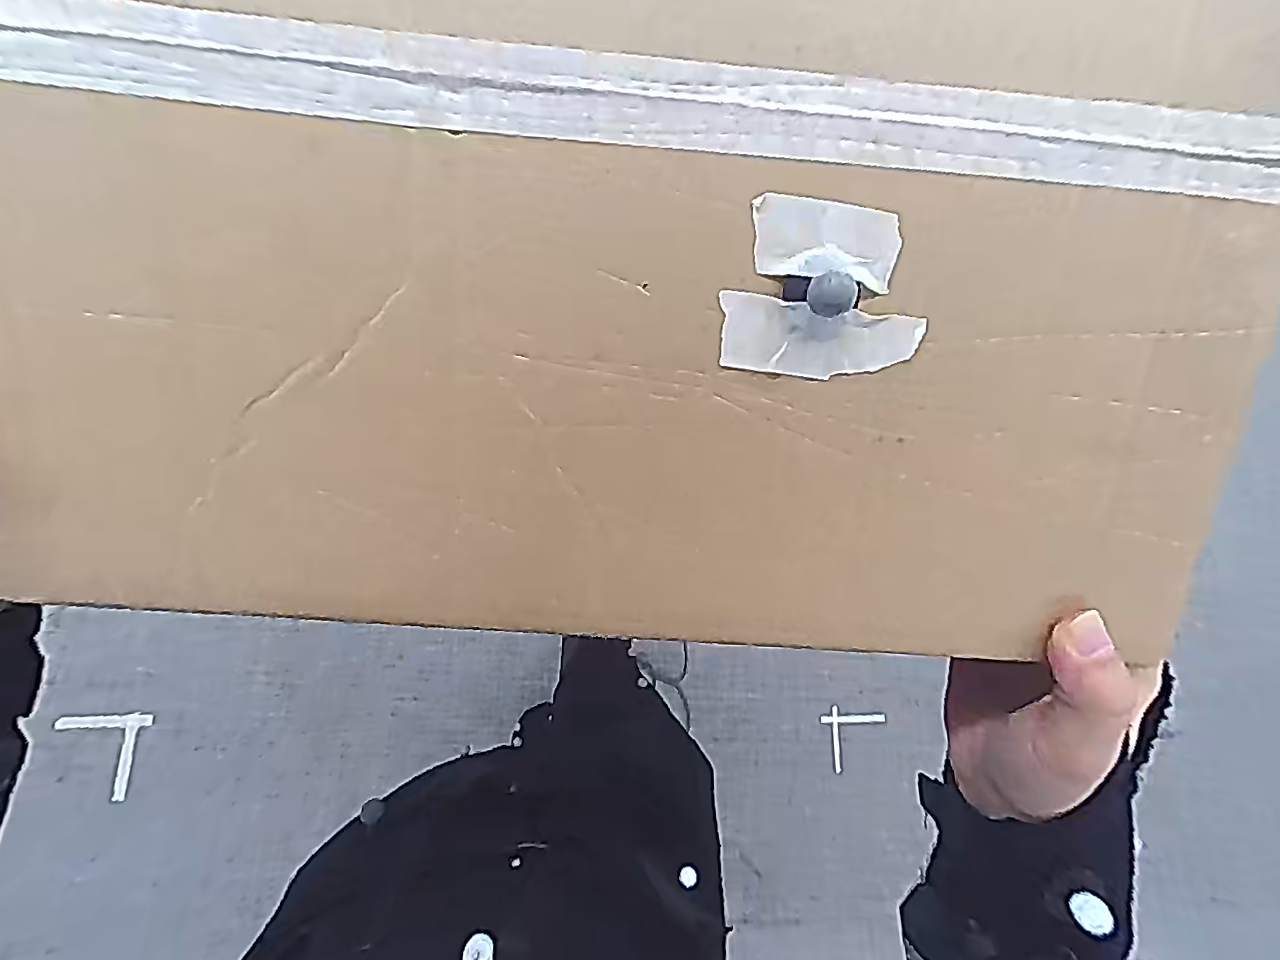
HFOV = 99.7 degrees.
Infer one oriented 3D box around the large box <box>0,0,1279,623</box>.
[{"bbox_3d":[-0.016,-0.133,0.308,0.408,0.320,0.320,4,102,-4],"label":"large box"}]
